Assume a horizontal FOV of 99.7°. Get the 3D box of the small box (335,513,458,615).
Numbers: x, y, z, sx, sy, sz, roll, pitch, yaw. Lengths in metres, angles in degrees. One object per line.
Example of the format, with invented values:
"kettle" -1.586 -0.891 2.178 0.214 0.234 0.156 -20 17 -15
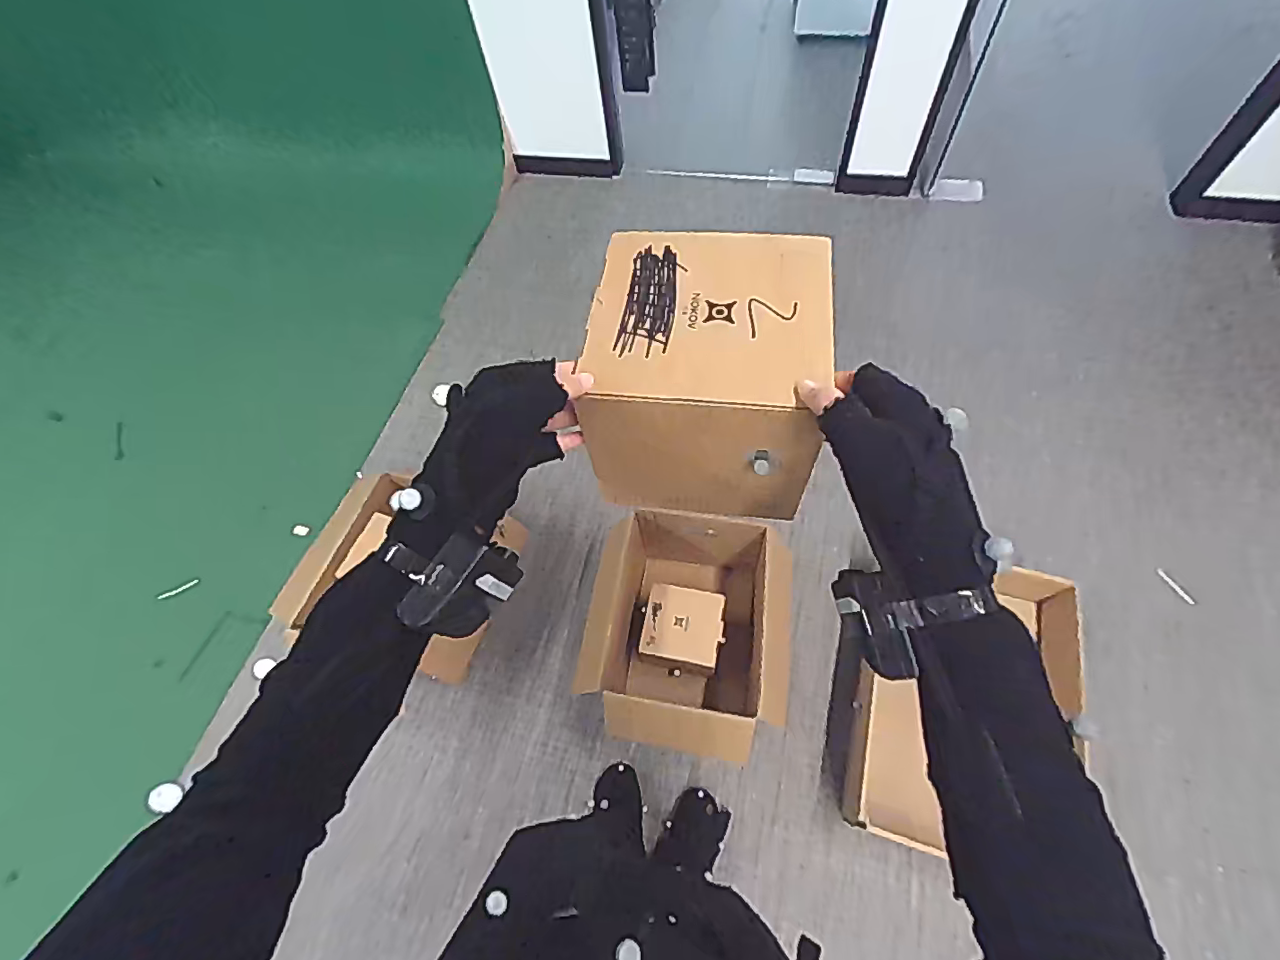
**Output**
"small box" -0.561 0.205 1.278 0.179 0.176 0.168 15 63 13
